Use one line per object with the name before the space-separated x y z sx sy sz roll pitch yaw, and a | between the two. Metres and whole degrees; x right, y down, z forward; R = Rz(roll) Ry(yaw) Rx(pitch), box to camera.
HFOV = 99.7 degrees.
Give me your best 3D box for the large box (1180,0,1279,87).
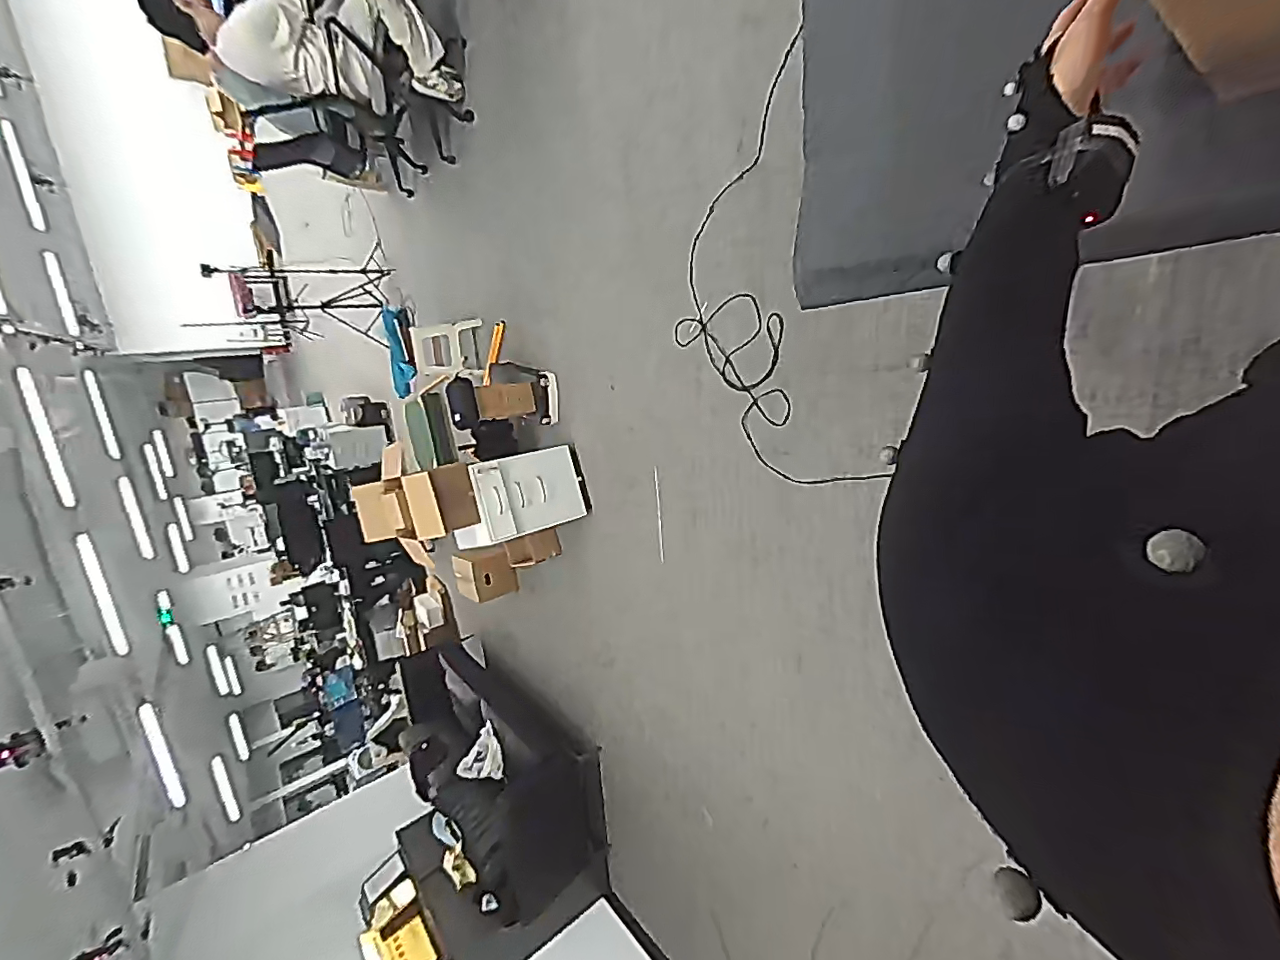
large box | 0.529 -0.448 0.222 0.408 0.320 0.320 12 112 50
